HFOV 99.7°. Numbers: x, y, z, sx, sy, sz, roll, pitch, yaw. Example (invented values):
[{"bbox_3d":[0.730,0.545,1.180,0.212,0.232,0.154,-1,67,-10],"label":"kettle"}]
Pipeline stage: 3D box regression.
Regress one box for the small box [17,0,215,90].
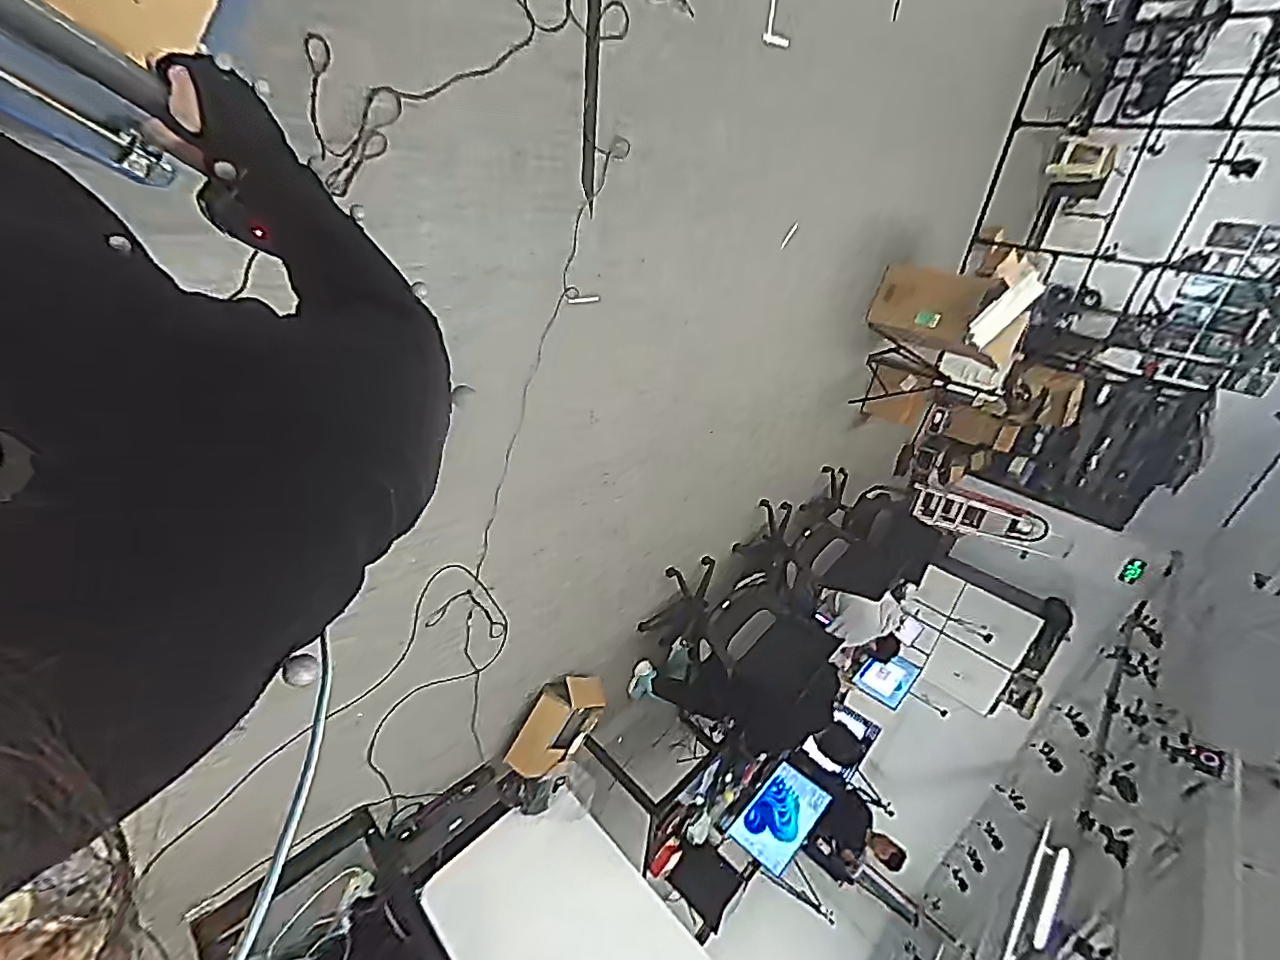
[{"bbox_3d":[-0.741,-0.691,0.764,0.168,0.176,0.179,23,94,-55],"label":"small box"}]
